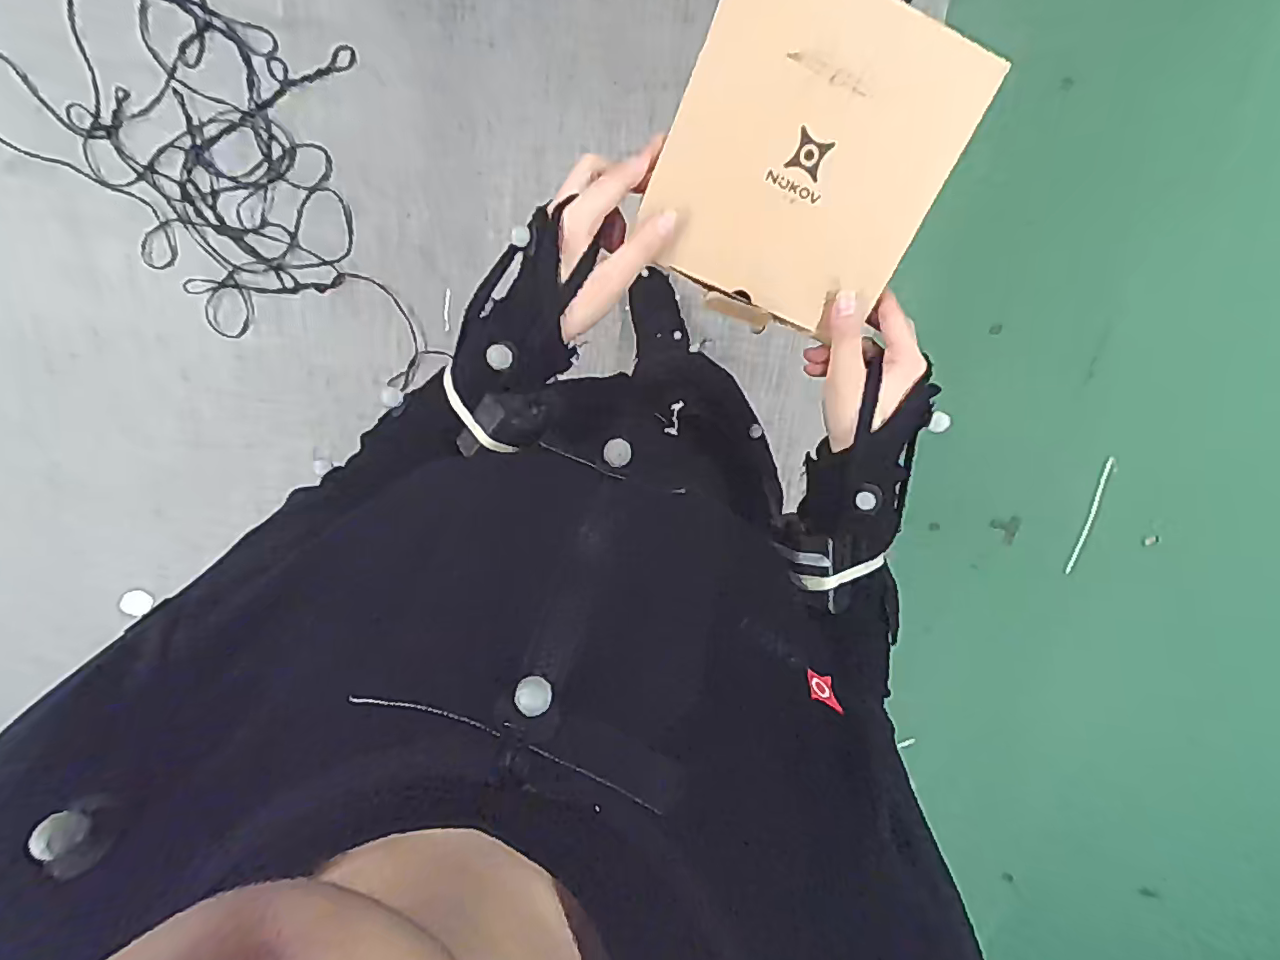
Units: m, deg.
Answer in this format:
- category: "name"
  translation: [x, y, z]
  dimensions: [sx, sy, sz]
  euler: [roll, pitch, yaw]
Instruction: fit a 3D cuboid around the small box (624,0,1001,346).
- category: "small box"
  translation: [0.097, -0.220, 0.395]
  dimensions: [0.168, 0.176, 0.179]
  euler: [21, 110, -9]
